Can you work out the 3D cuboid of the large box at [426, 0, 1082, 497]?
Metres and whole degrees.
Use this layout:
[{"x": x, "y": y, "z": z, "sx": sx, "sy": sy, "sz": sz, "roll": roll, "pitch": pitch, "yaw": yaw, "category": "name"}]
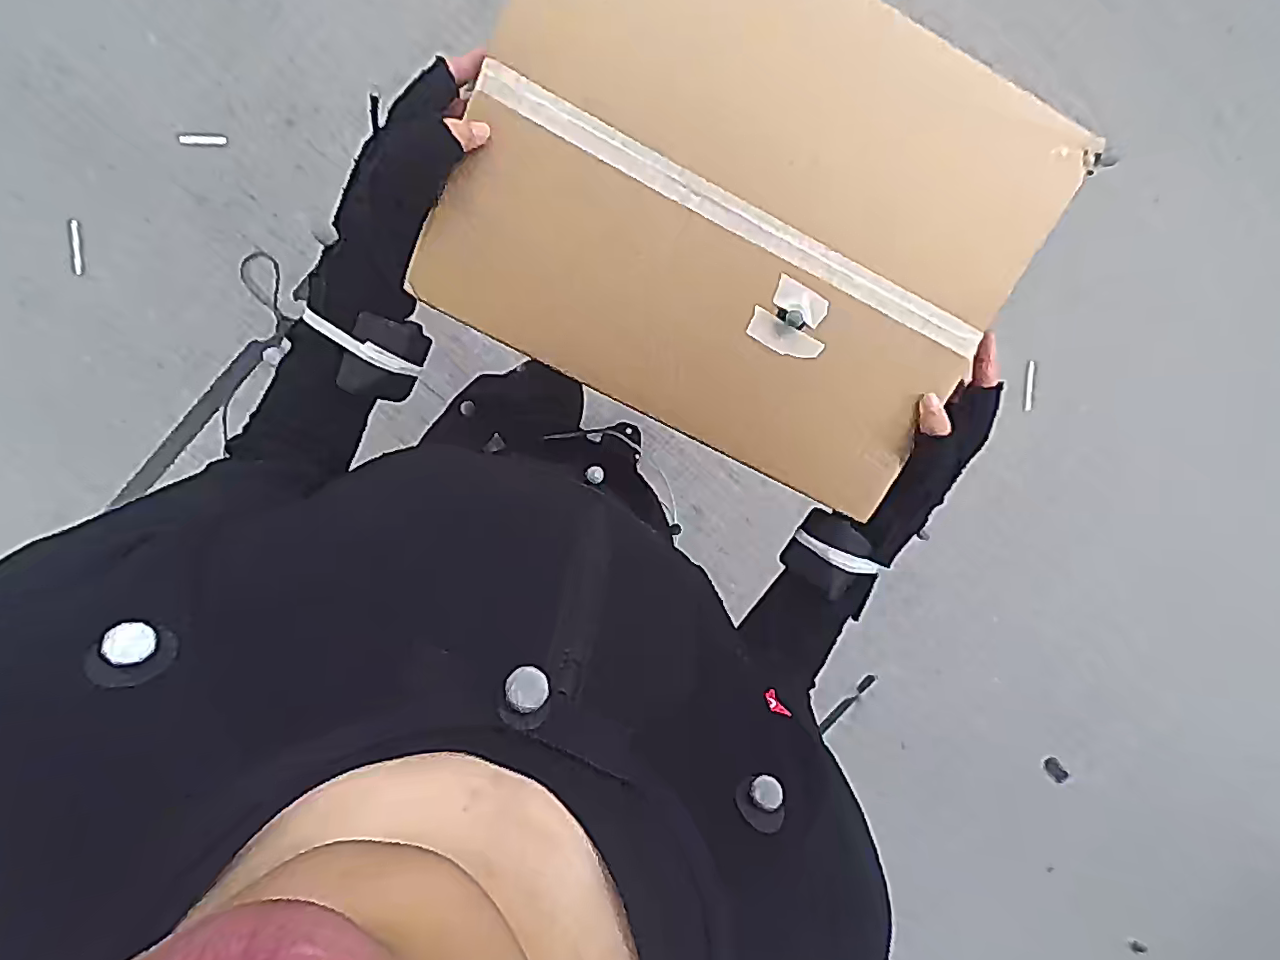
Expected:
[{"x": 0.075, "y": -0.235, "z": 0.544, "sx": 0.408, "sy": 0.320, "sz": 0.320, "roll": 26, "pitch": 104, "yaw": -7, "category": "large box"}]
